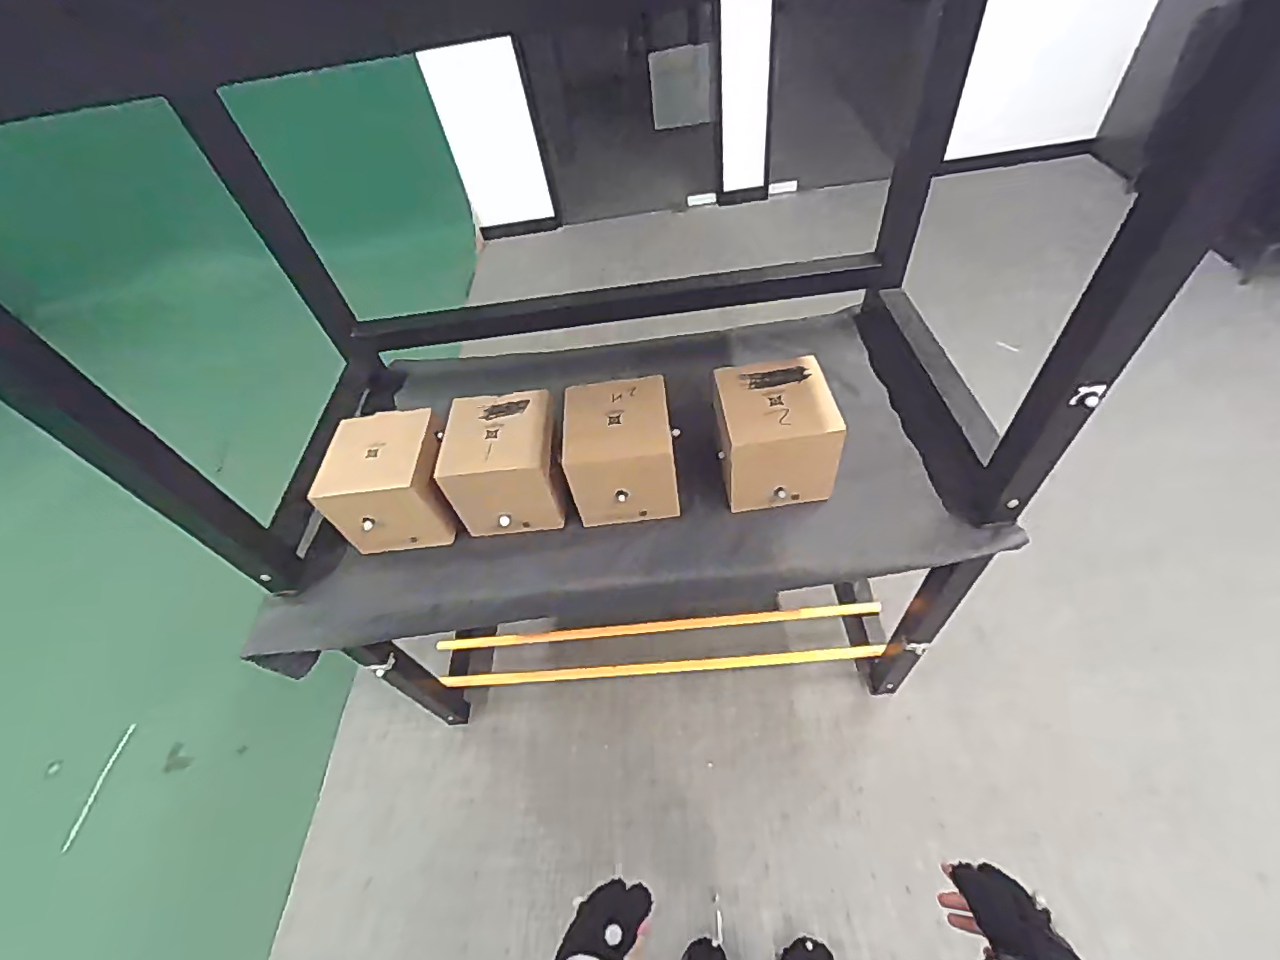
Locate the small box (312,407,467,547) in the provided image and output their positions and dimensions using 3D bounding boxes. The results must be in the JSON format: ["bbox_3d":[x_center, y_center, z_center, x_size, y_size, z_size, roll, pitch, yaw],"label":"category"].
[{"bbox_3d":[-0.413,0.002,0.928,0.168,0.176,0.179,-6,50,4],"label":"small box"}]
